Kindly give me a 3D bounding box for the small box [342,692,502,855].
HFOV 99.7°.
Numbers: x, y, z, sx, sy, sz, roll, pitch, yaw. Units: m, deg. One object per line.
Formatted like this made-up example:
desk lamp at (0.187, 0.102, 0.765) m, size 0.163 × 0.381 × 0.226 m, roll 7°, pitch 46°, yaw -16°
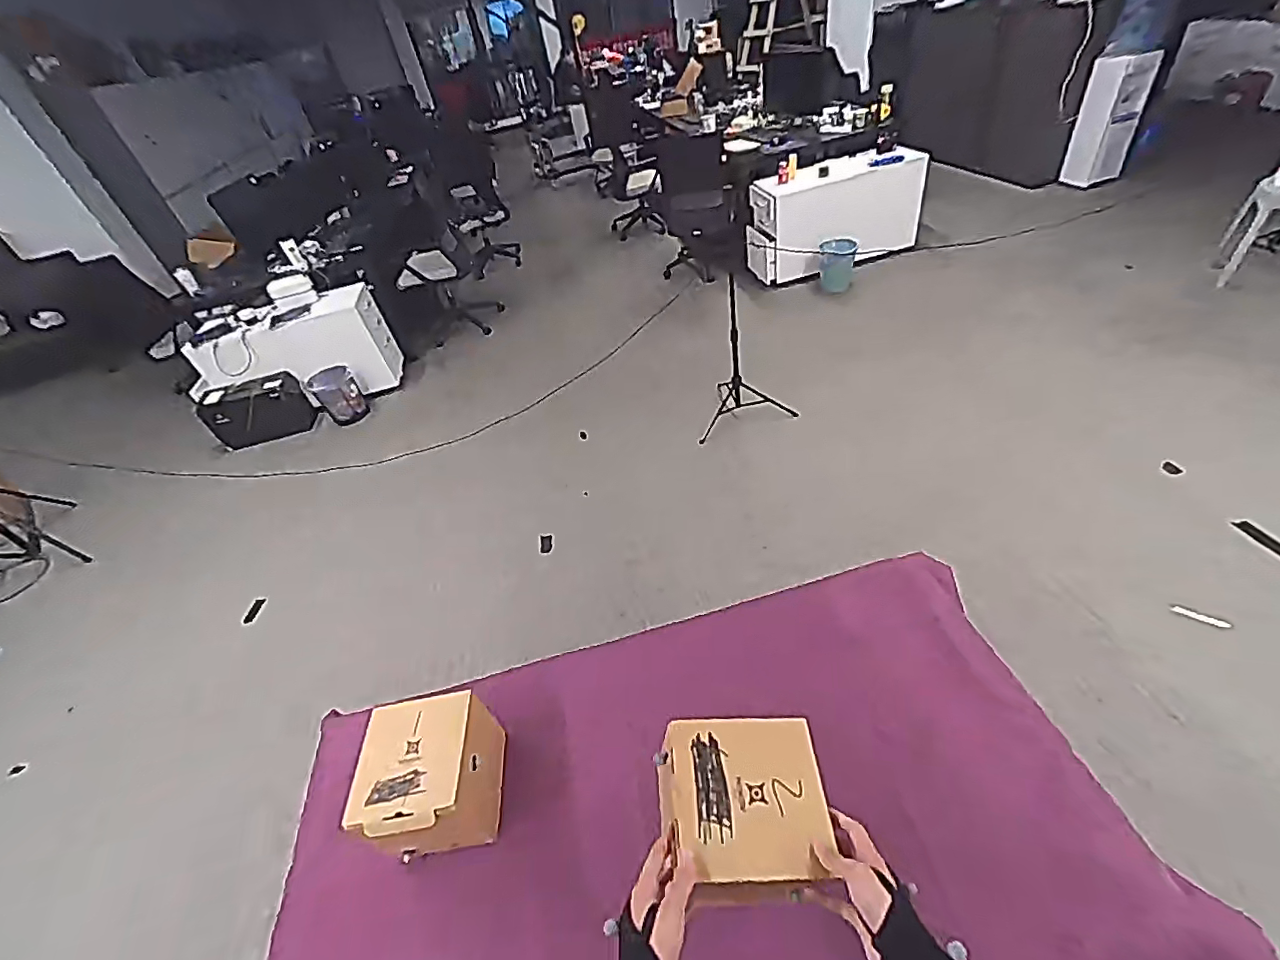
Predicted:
small box at (-0.328, 0.469, 0.856) m, size 0.168 × 0.176 × 0.179 m, roll -11°, pitch 42°, yaw 1°
